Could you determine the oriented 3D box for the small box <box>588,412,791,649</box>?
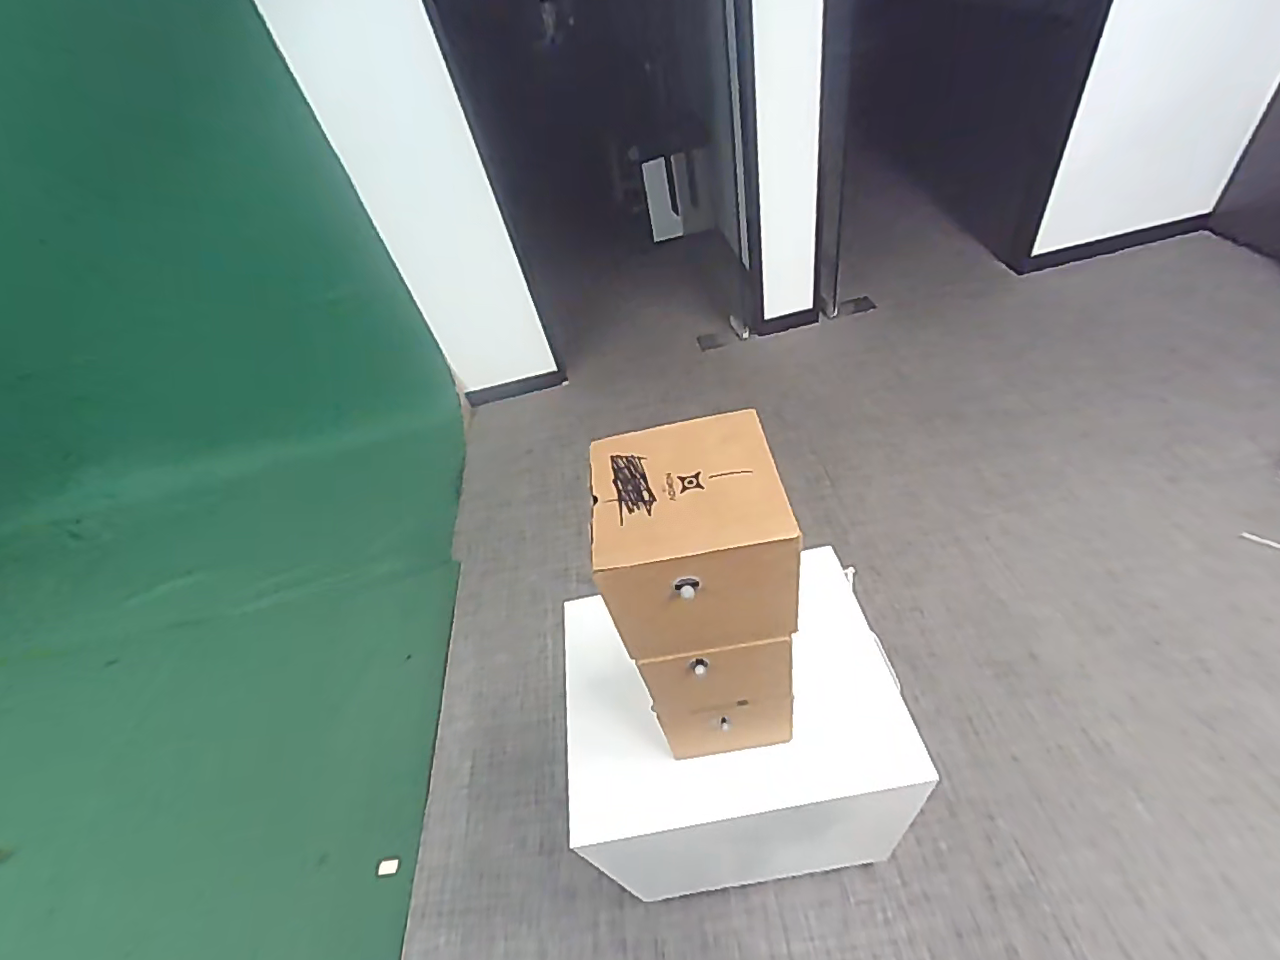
[{"bbox_3d":[0.052,0.058,0.563,0.179,0.176,0.168,-11,46,5],"label":"small box"}]

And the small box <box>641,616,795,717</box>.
[{"bbox_3d":[0.086,0.171,0.682,0.168,0.176,0.179,-12,46,3],"label":"small box"}]

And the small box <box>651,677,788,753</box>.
[{"bbox_3d":[0.113,0.282,0.795,0.179,0.176,0.168,-11,45,4],"label":"small box"}]
